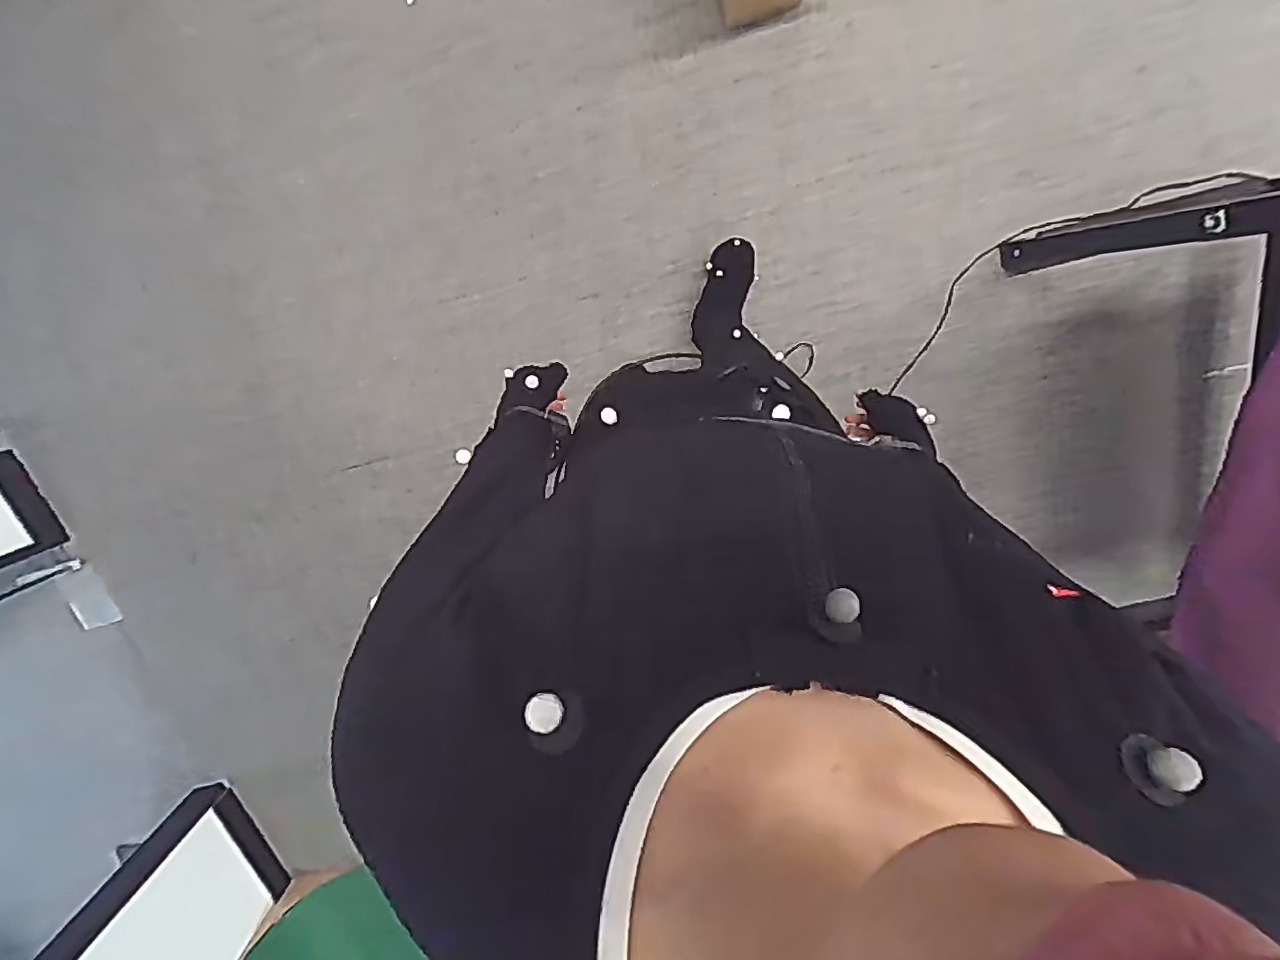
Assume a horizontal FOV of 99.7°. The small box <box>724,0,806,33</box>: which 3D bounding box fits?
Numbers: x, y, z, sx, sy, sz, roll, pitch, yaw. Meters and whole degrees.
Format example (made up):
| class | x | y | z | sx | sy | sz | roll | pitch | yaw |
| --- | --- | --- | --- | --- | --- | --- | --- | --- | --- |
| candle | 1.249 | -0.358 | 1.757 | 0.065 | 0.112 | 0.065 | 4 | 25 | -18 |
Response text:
| class | x | y | z | sx | sy | sz | roll | pitch | yaw |
| --- | --- | --- | --- | --- | --- | --- | --- | --- | --- |
| small box | 0.251 | -1.053 | 1.077 | 0.168 | 0.176 | 0.179 | -14 | 106 | 5 |
